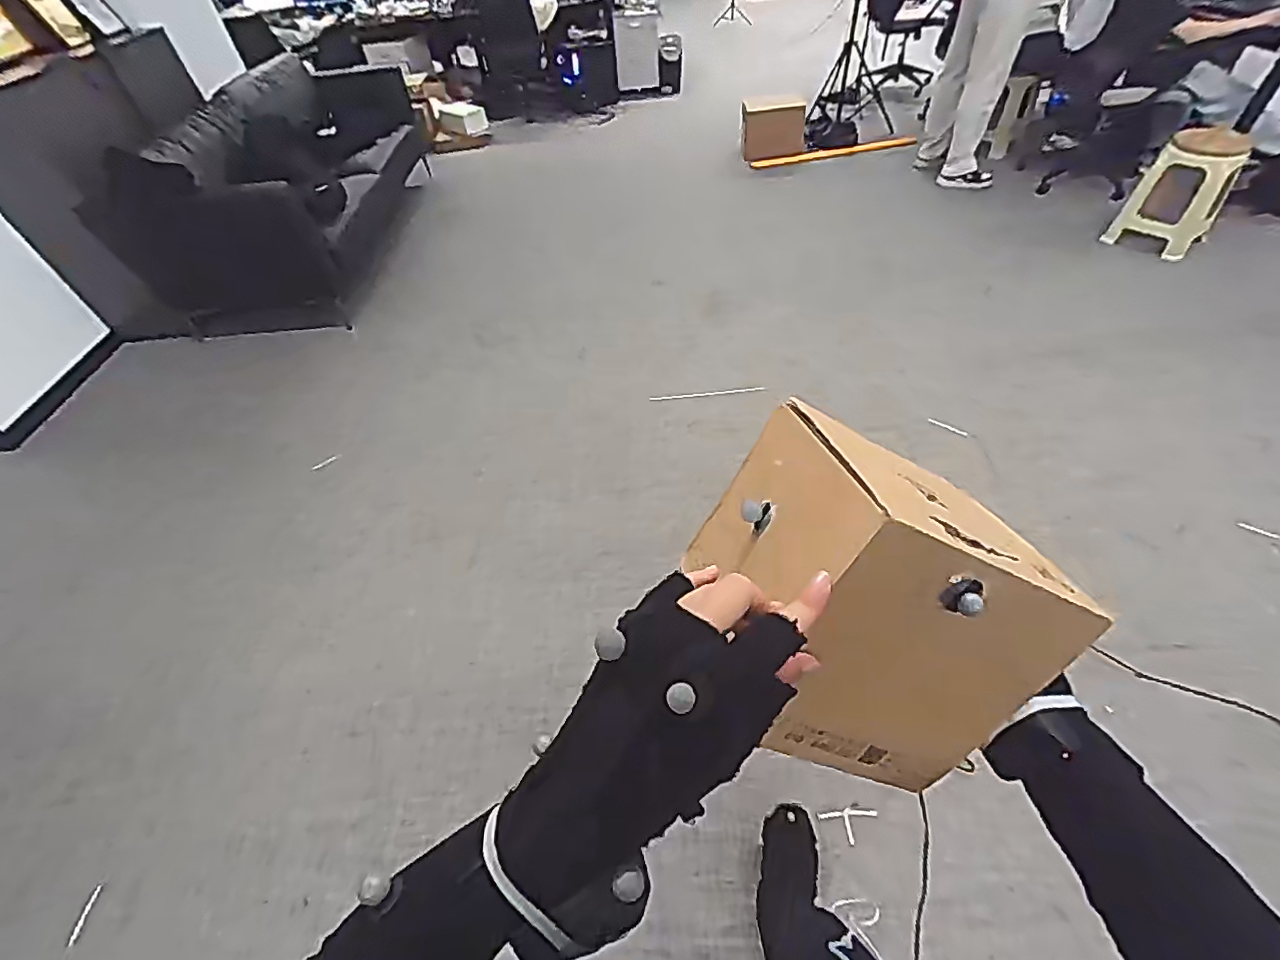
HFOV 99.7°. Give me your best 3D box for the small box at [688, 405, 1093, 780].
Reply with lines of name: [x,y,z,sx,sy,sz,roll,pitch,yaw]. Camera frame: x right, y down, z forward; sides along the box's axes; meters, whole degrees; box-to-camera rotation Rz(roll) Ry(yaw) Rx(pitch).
small box: [0.149,0.075,0.398,0.168,0.176,0.179,23,23,-15]
